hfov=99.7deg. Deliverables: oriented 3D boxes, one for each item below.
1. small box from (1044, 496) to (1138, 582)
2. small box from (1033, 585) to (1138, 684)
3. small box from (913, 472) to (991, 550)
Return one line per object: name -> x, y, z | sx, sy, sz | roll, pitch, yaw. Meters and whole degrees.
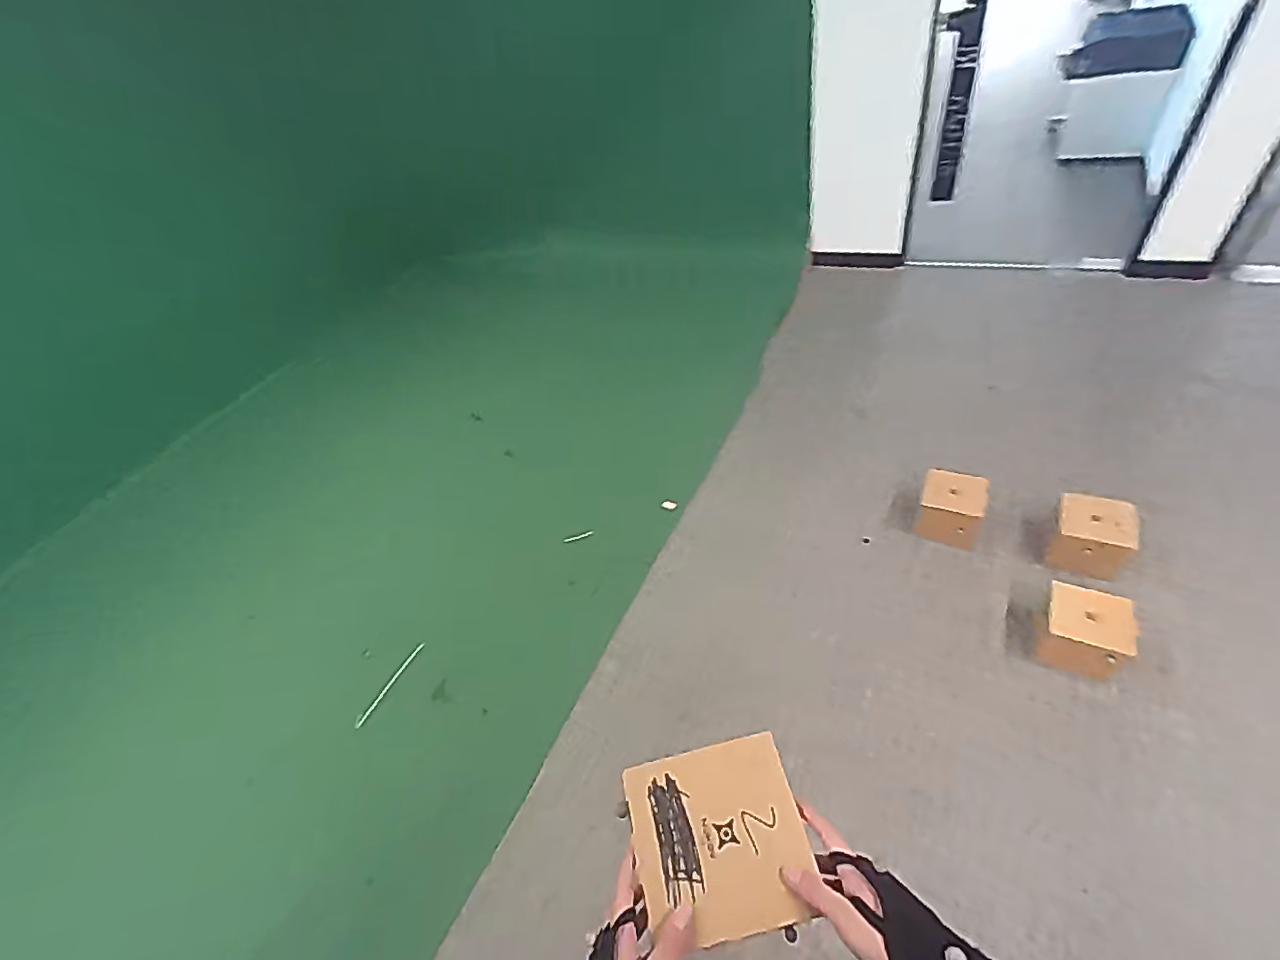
small box -> 1.318, 0.177, 1.592 | 0.179, 0.176, 0.168 | 14, 54, 26
small box -> 1.164, 0.410, 1.425 | 0.179, 0.176, 0.168 | 14, 53, 26
small box -> 1.007, 0.104, 1.753 | 0.179, 0.176, 0.168 | 14, 53, 28
